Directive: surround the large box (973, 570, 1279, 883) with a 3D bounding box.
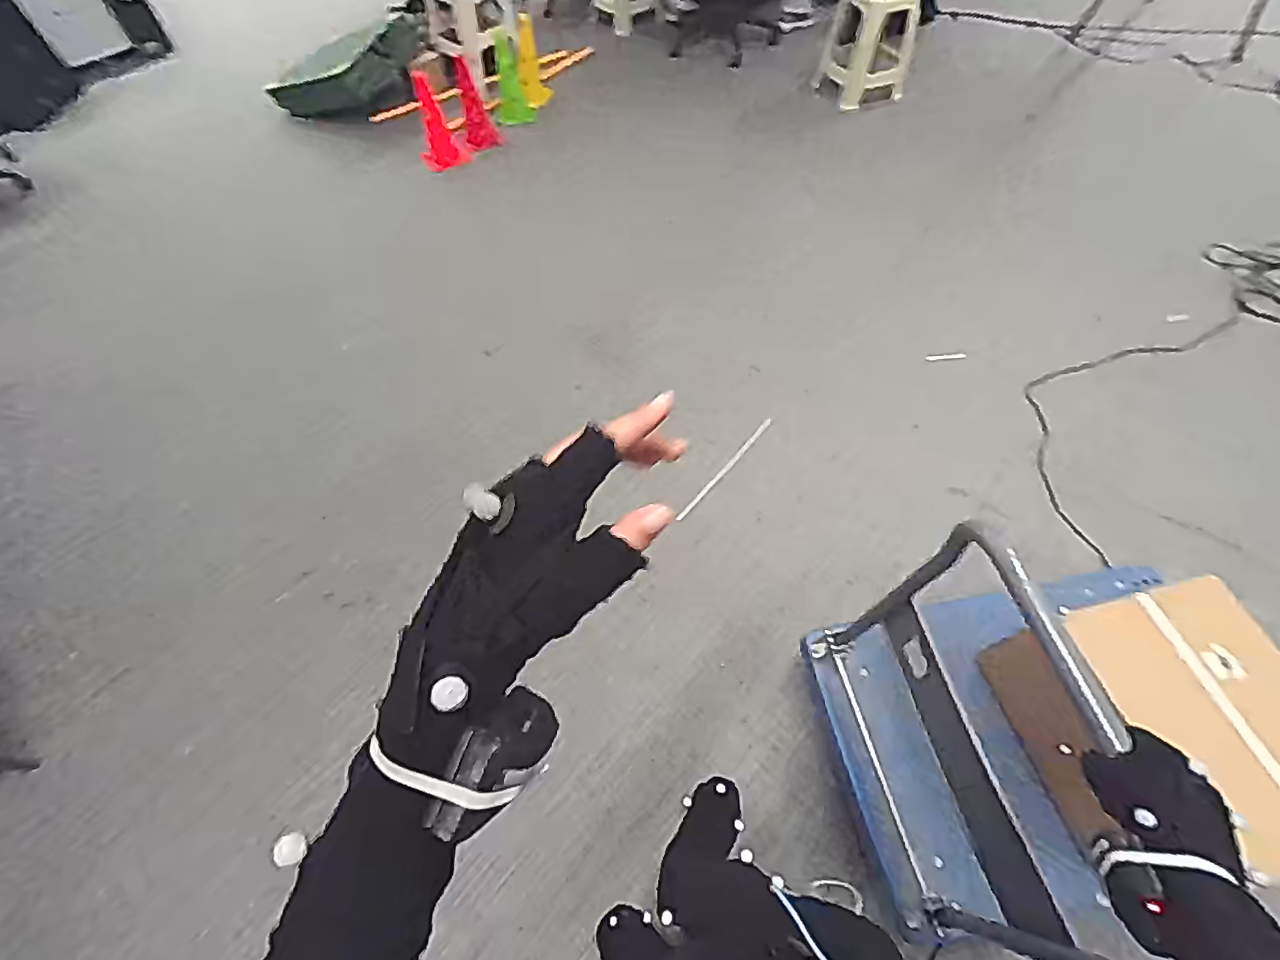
[{"bbox_3d":[0.921,0.437,0.987,0.320,0.320,0.408,-14,59,-5],"label":"large box"}]
